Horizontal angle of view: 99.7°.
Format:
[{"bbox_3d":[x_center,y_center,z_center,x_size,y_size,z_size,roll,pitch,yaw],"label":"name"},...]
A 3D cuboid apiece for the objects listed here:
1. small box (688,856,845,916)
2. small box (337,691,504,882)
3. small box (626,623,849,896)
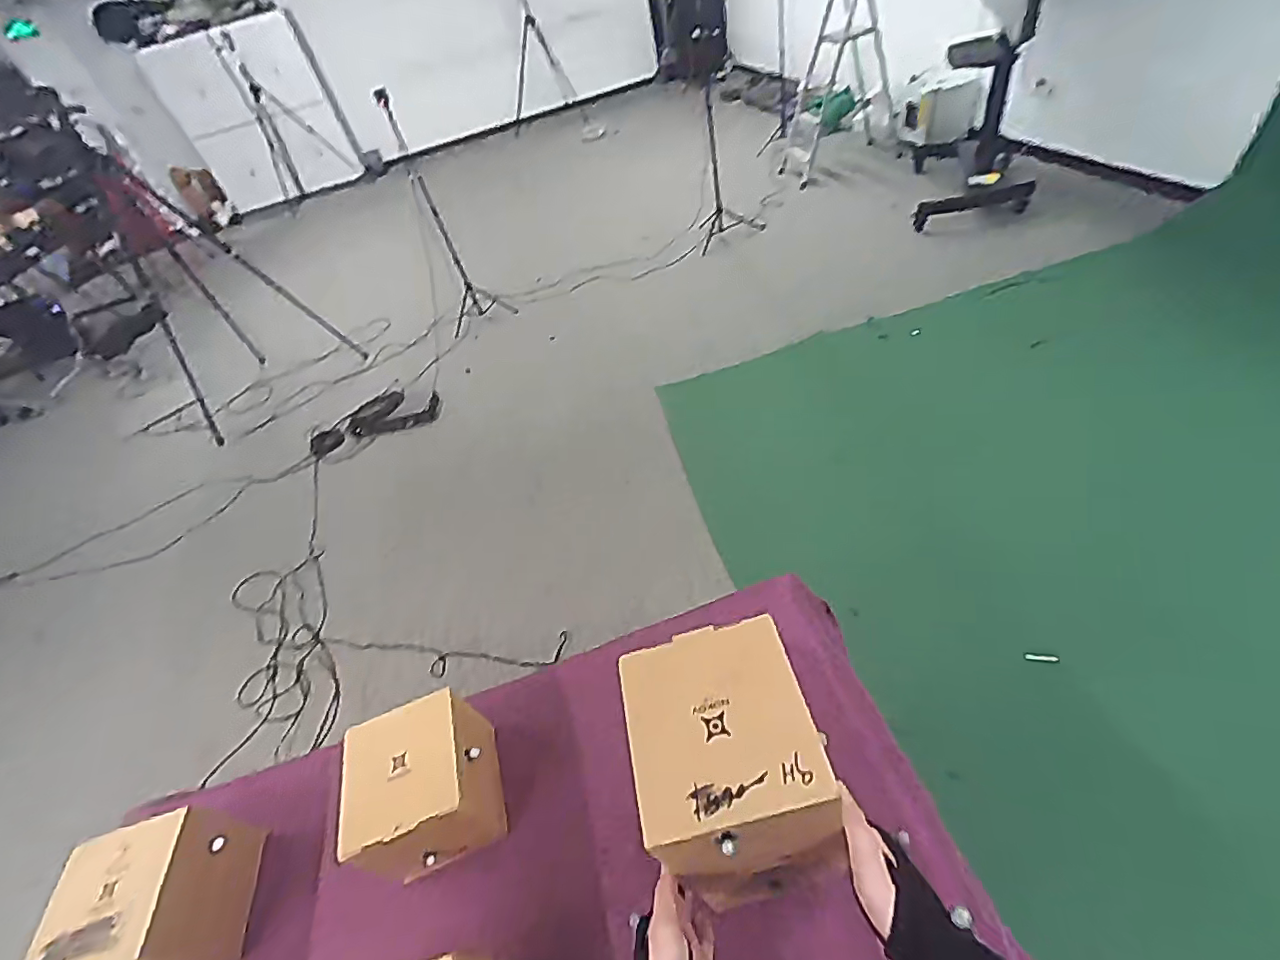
[{"bbox_3d":[0.133,0.389,0.656,0.168,0.176,0.179,-19,42,3],"label":"small box"},{"bbox_3d":[-0.317,0.455,0.803,0.168,0.176,0.179,-21,45,-6],"label":"small box"},{"bbox_3d":[0.094,0.278,0.539,0.168,0.176,0.179,-17,42,5],"label":"small box"}]
